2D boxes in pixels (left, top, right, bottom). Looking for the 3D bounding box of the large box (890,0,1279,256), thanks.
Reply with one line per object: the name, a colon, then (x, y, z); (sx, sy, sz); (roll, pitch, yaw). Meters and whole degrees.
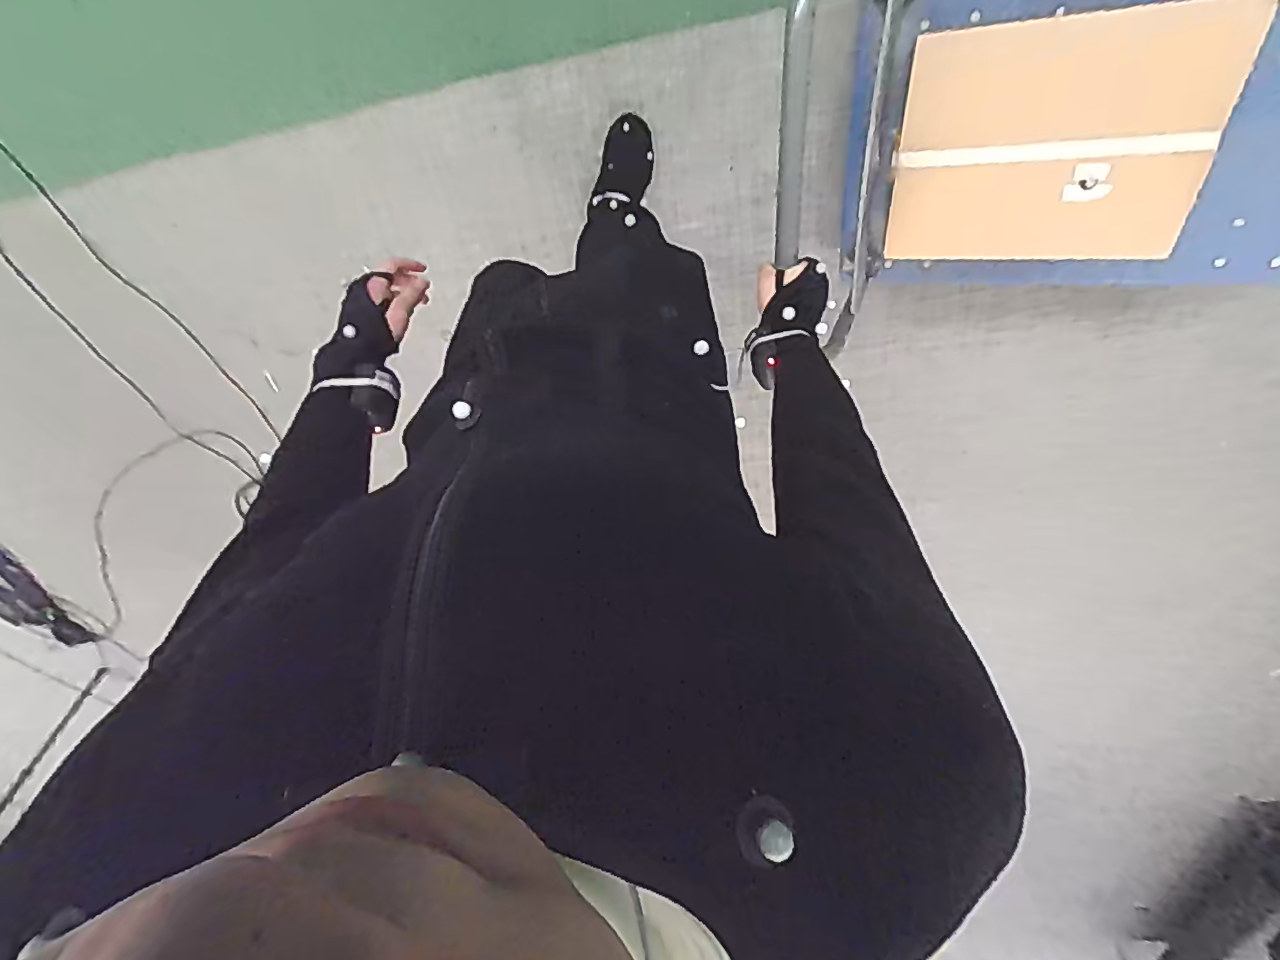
large box: (0.659, -0.578, 0.909); (0.408, 0.320, 0.320); (8, 128, 20)
